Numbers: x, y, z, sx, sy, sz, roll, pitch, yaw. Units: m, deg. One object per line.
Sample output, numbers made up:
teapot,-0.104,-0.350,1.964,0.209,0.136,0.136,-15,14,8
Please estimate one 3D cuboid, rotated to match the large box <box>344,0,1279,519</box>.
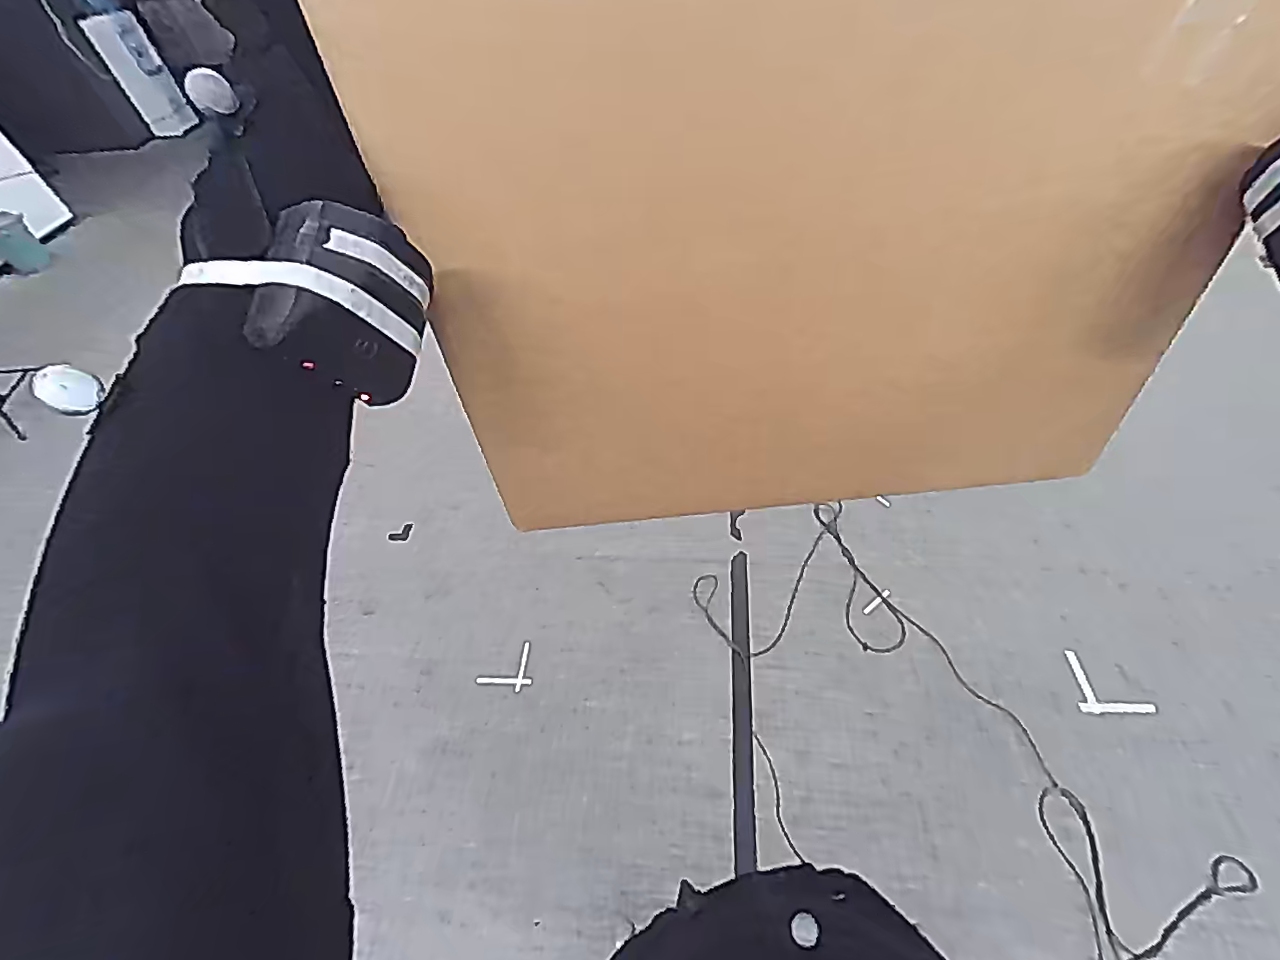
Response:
large box,0.086,-0.199,0.400,0.408,0.320,0.320,-6,44,2
